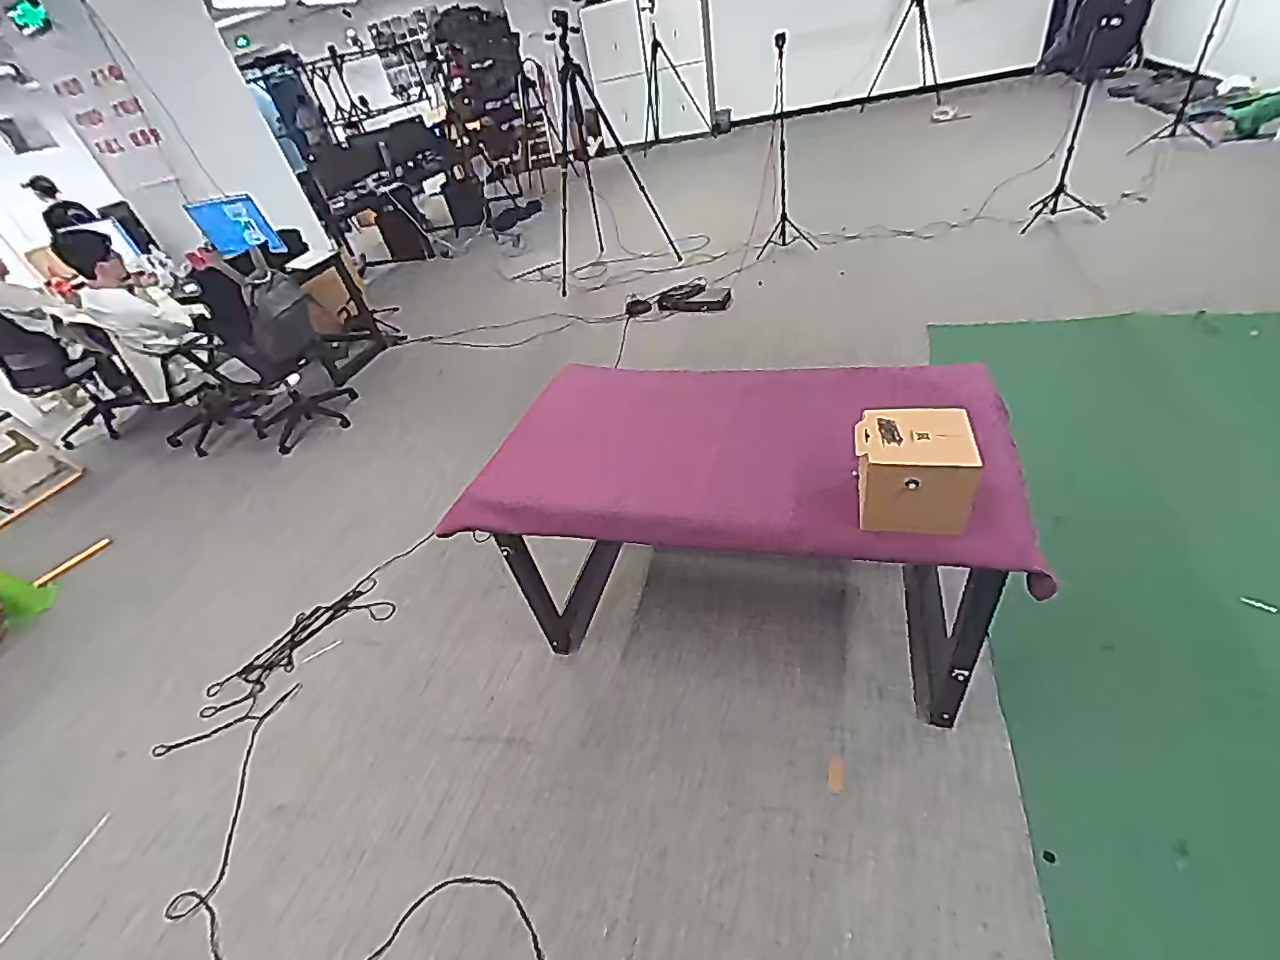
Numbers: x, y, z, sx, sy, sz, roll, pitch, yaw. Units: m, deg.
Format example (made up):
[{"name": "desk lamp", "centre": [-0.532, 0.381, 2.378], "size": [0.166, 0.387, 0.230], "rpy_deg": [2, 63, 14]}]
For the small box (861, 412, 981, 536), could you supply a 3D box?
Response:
[{"name": "small box", "centre": [0.511, -0.011, 1.012], "size": [0.179, 0.176, 0.168], "rpy_deg": [2, 42, 19]}]
